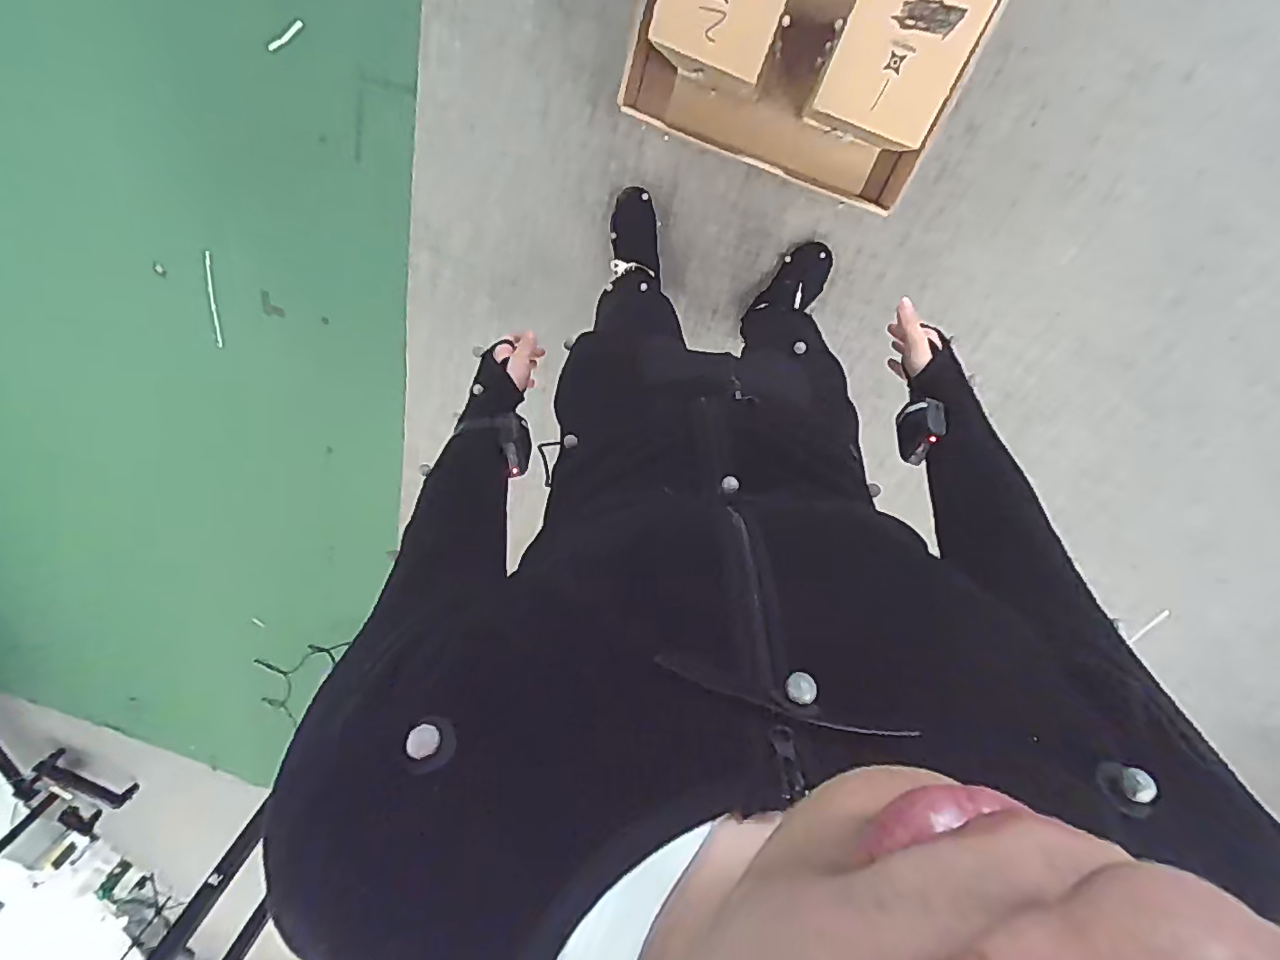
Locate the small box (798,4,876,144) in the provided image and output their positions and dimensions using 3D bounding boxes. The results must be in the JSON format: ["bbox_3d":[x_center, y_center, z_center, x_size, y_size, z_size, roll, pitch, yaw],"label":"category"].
[{"bbox_3d":[0.425,-0.788,1.069,0.168,0.176,0.179,20,123,0],"label":"small box"}]

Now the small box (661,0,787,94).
[{"bbox_3d":[0.150,-0.794,0.920,0.168,0.176,0.179,23,122,-3],"label":"small box"}]

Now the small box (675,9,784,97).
[{"bbox_3d":[0.179,-0.877,1.060,0.168,0.176,0.179,18,123,-2],"label":"small box"}]

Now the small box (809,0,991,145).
[{"bbox_3d":[0.361,-0.620,0.795,0.168,0.176,0.179,22,124,0],"label":"small box"}]
